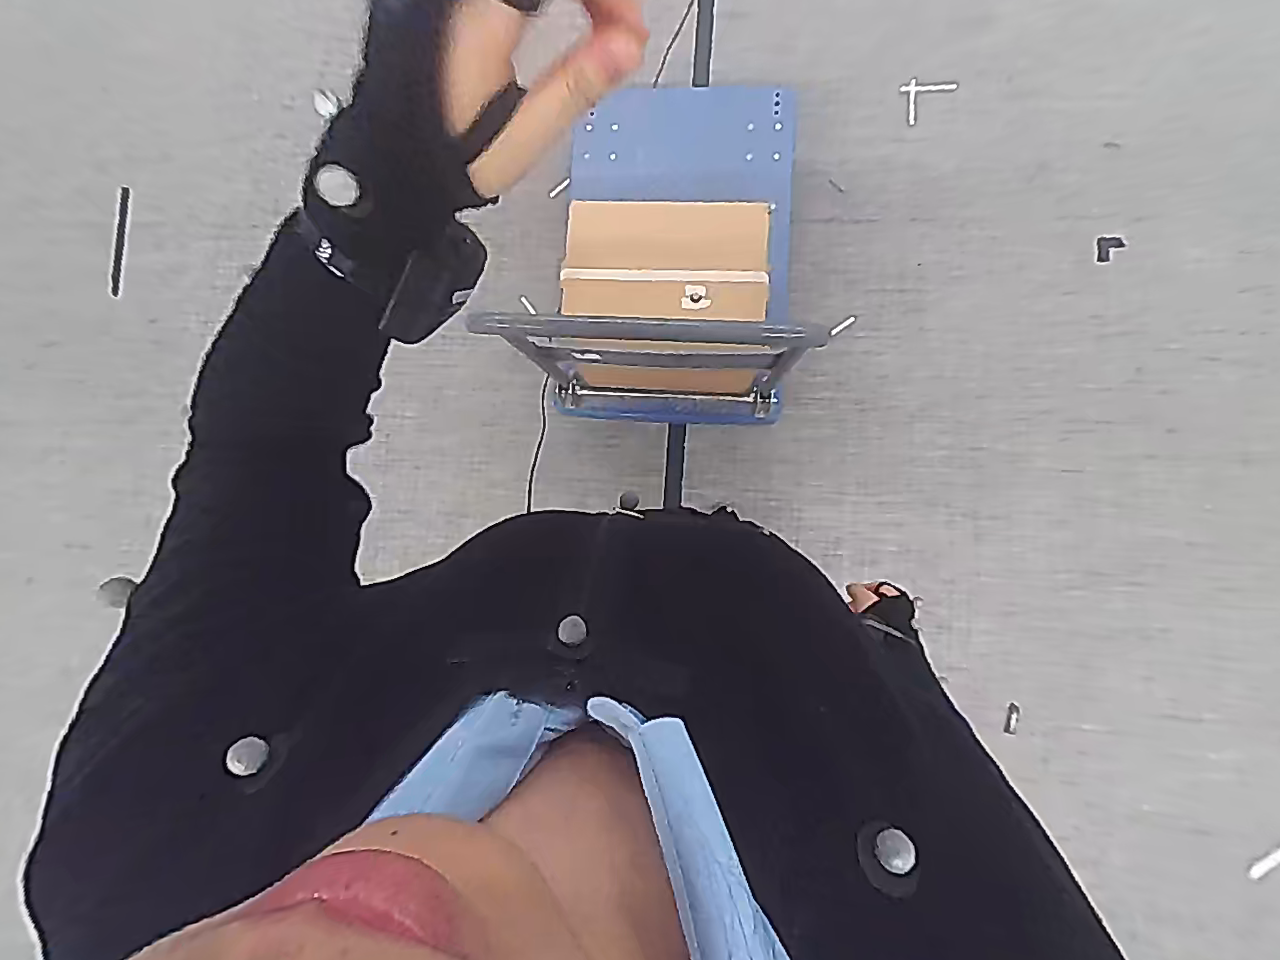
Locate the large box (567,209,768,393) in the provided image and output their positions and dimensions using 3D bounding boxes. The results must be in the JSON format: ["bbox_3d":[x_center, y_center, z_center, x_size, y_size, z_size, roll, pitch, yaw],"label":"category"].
[{"bbox_3d":[0.064,-0.388,1.238,0.408,0.320,0.320,3,86,5],"label":"large box"}]
